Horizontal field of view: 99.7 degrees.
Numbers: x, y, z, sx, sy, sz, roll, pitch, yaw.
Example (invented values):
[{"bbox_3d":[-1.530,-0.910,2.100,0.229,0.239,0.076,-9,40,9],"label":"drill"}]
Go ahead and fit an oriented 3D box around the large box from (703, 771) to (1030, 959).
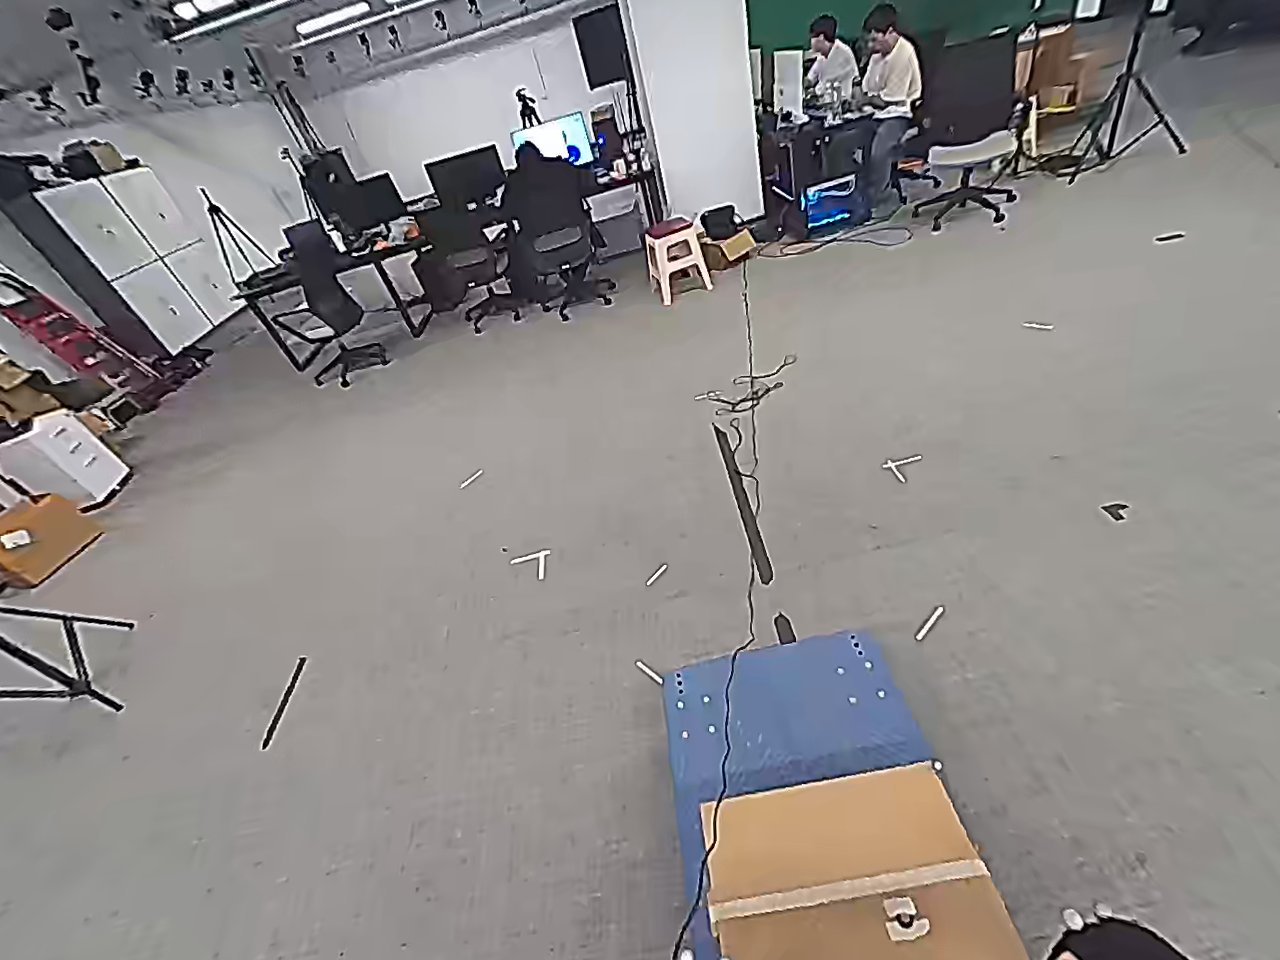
[{"bbox_3d":[0.345,0.736,0.880,0.408,0.320,0.320,-13,37,5],"label":"large box"}]
